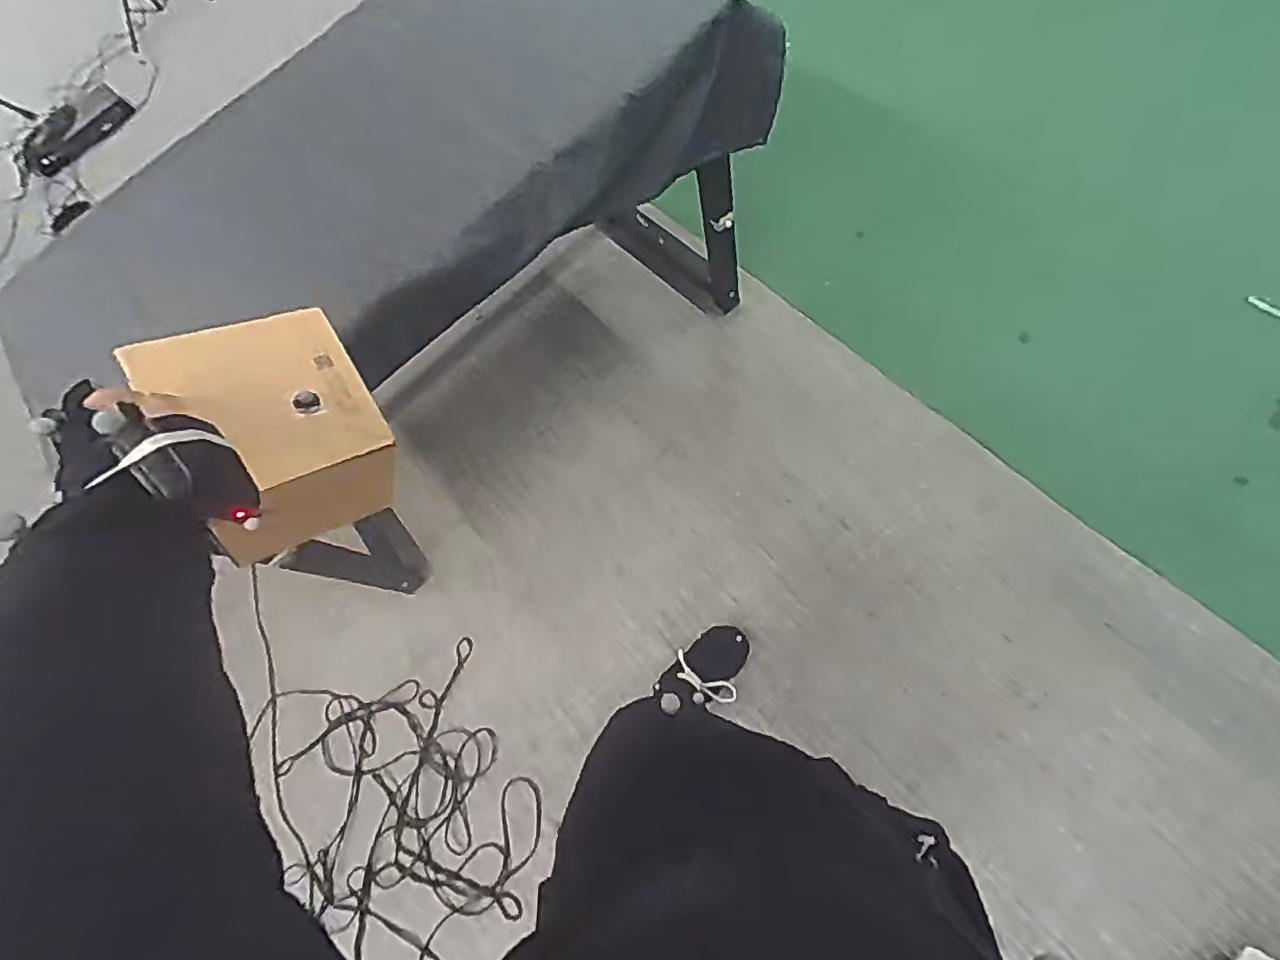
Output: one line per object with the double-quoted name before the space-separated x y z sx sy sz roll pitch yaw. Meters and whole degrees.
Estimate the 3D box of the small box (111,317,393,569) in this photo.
"small box" -0.371 -0.036 0.552 0.176 0.179 0.168 -28 81 -33
